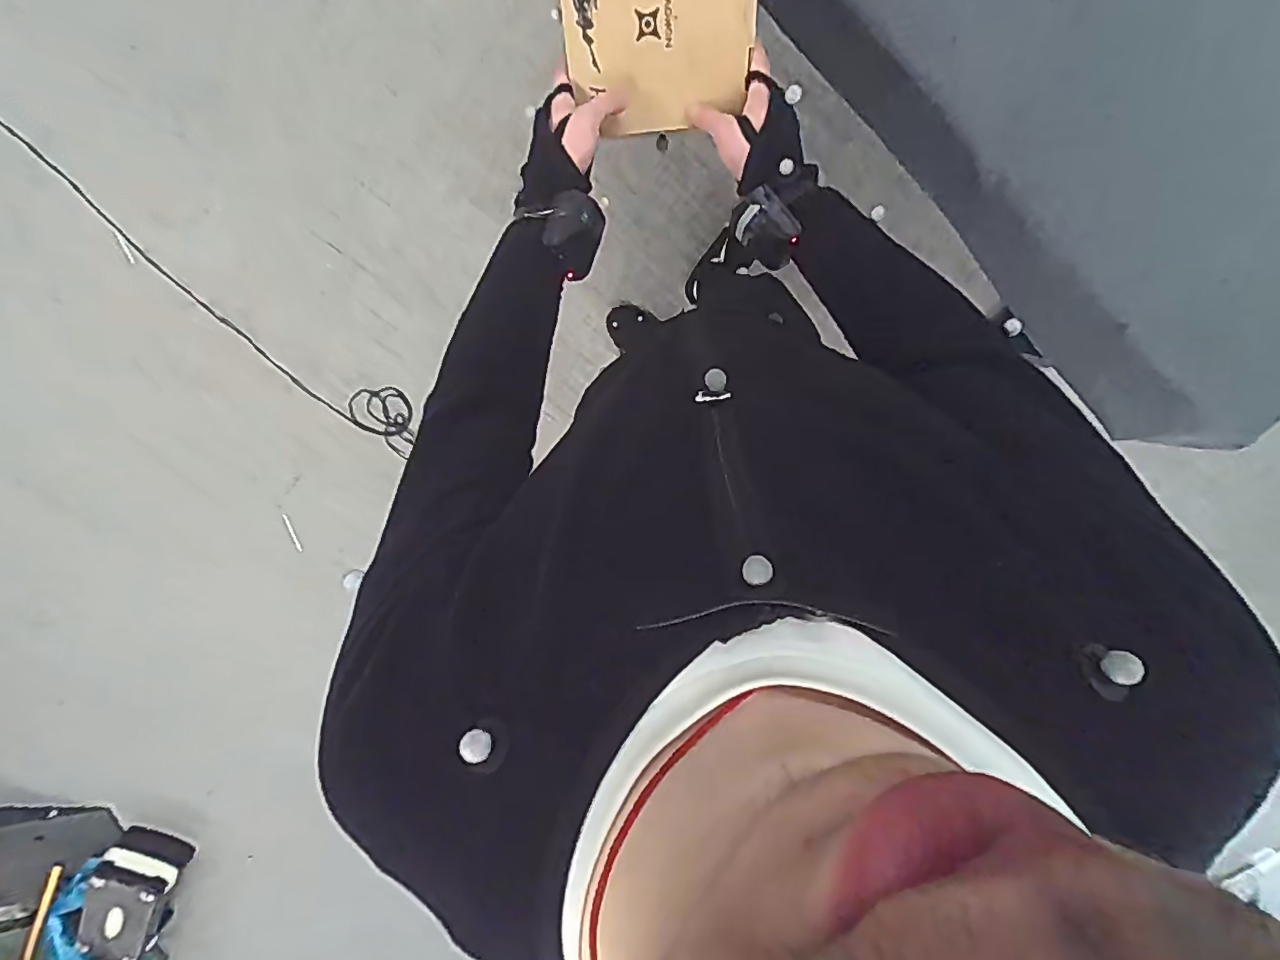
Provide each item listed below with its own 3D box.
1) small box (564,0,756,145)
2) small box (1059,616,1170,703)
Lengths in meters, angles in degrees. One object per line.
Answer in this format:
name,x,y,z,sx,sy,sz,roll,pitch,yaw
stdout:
small box,0.019,-0.455,0.569,0.179,0.176,0.168,-2,121,2
small box,1.534,0.577,1.757,0.179,0.176,0.168,38,107,-14
